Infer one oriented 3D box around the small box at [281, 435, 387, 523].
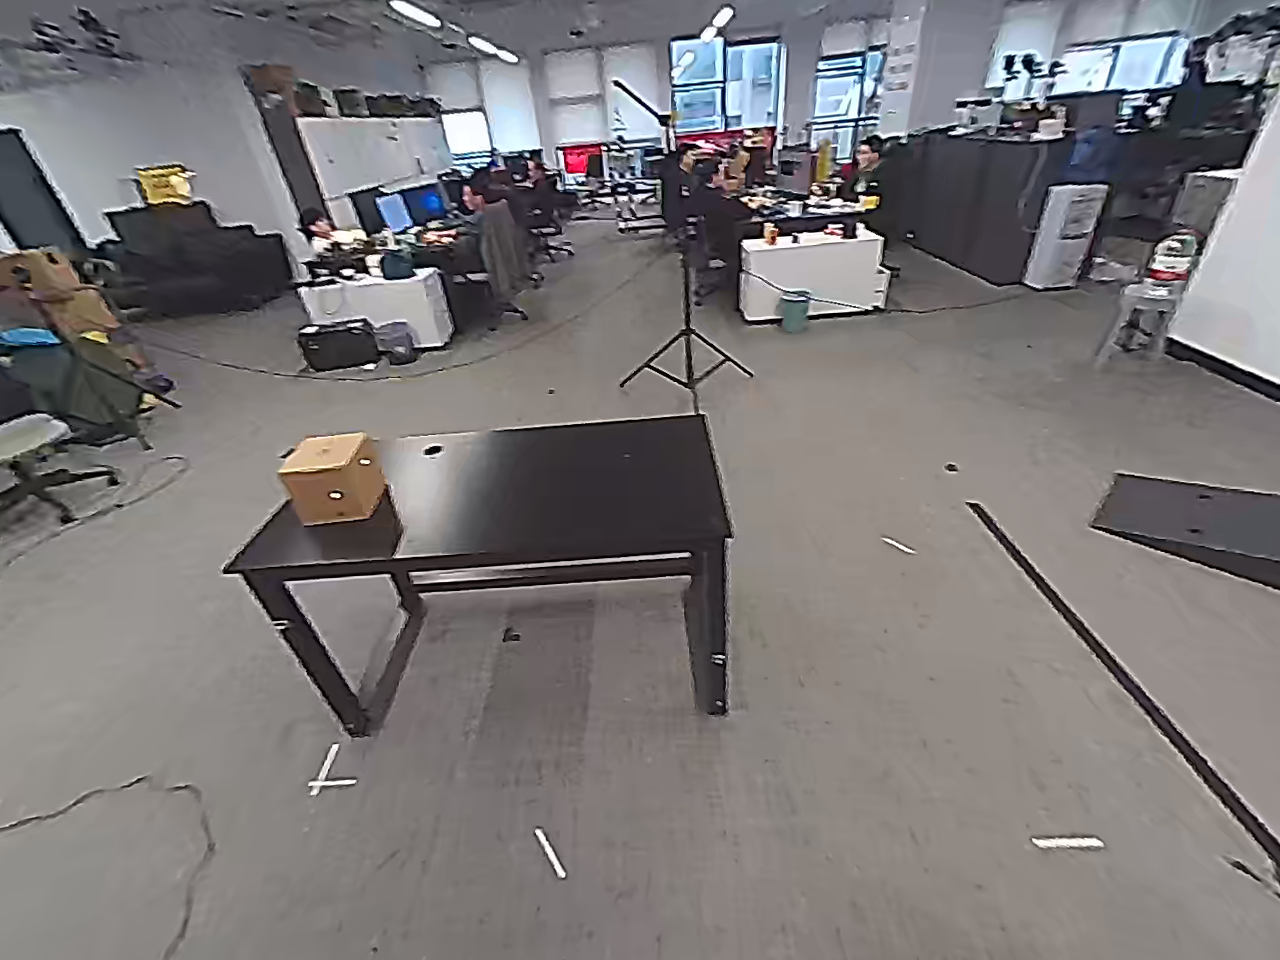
[{"bbox_3d":[-0.795,0.002,1.429,0.168,0.176,0.179,-6,32,-3],"label":"small box"}]
